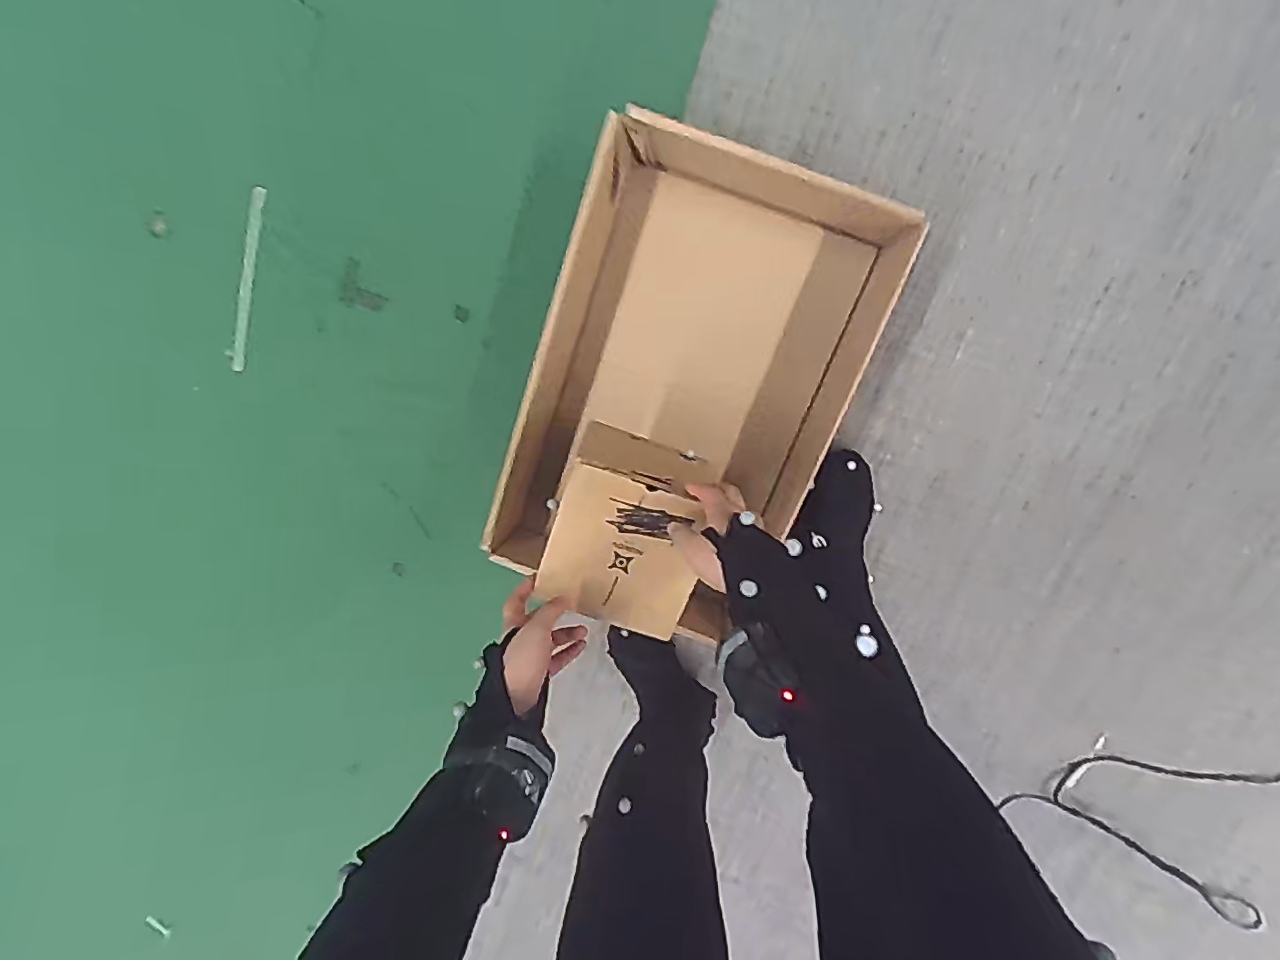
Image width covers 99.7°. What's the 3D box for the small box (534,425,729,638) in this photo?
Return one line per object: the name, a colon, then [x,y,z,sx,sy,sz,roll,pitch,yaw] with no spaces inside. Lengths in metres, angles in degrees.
small box: [-0.014,0.050,0.645,0.168,0.176,0.179,18,109,-6]
